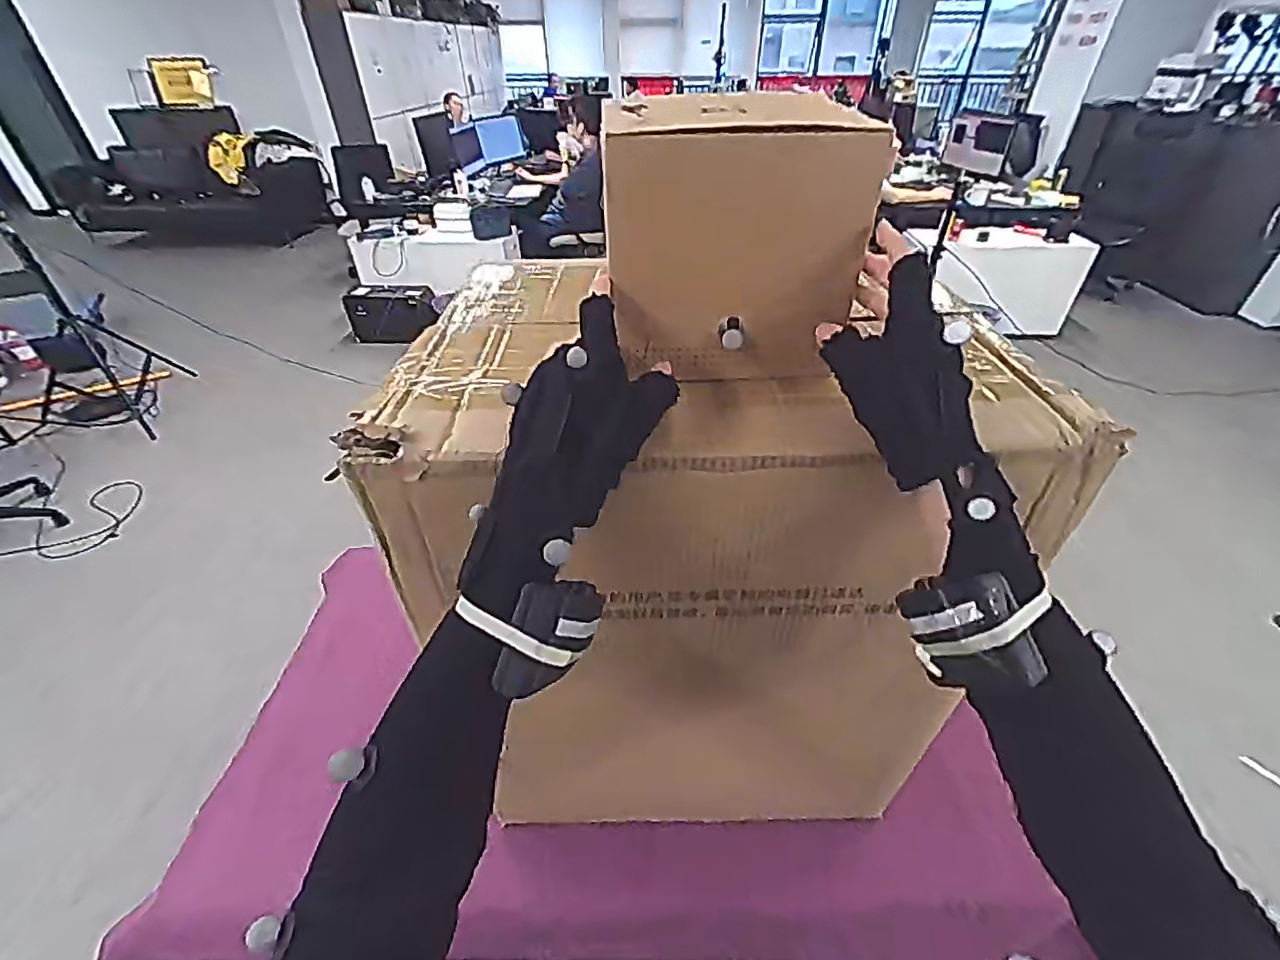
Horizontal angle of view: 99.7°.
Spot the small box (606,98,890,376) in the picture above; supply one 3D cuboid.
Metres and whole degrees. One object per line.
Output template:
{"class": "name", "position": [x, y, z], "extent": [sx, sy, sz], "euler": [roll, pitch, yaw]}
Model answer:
{"class": "small box", "position": [0.063, -0.194, 0.434], "extent": [0.179, 0.176, 0.168], "euler": [-2, 39, -2]}
